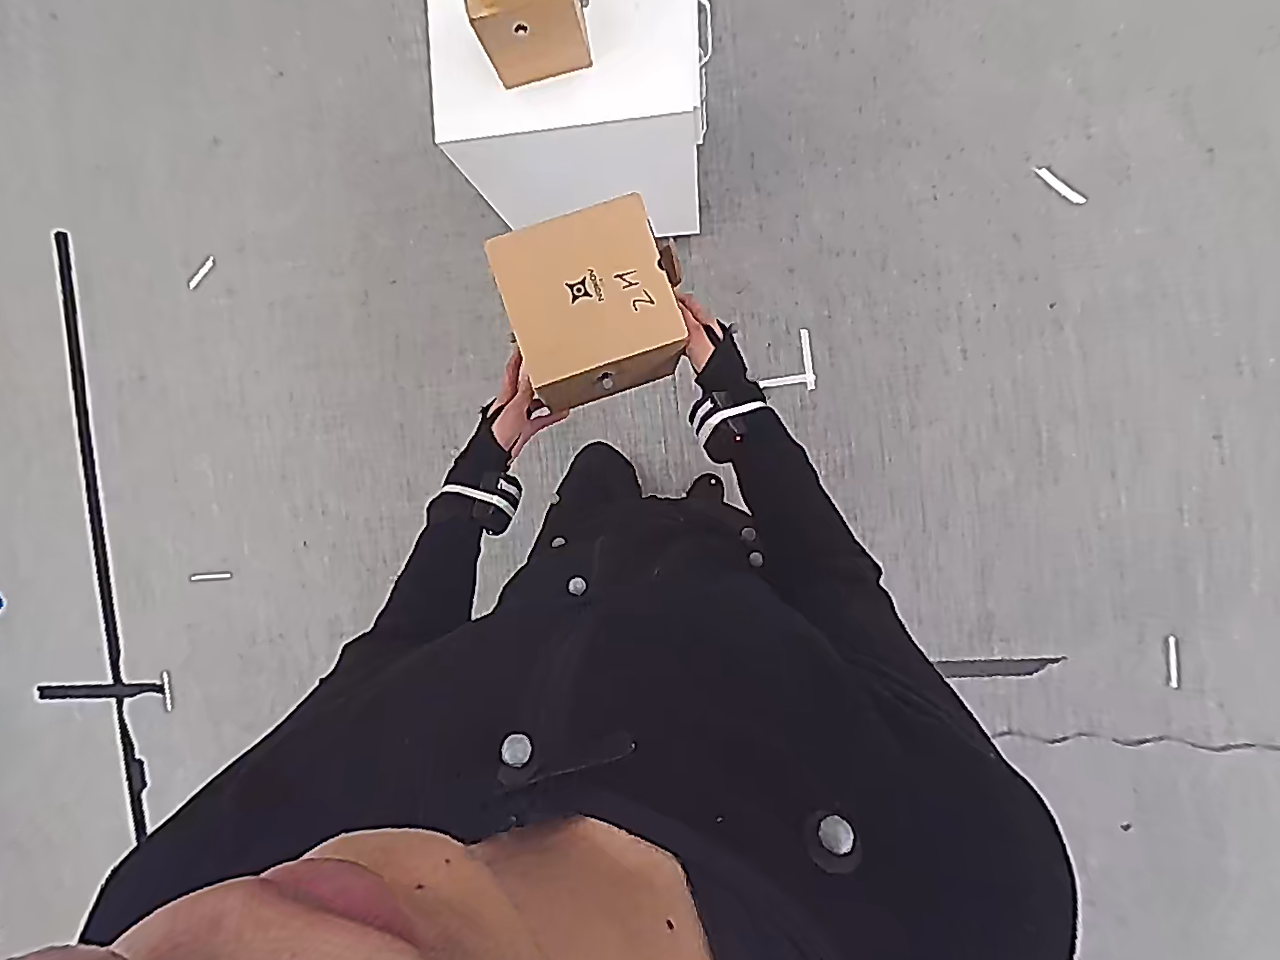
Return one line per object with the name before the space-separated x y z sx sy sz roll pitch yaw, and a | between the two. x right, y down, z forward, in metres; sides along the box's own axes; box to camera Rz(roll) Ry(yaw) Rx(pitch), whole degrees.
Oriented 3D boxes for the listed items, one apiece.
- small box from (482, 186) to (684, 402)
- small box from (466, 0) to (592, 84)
small box | -0.061 -0.204 0.643 0.179 0.176 0.168 -19 89 -2
small box | -0.195 -0.838 0.942 0.179 0.176 0.168 -10 91 7
